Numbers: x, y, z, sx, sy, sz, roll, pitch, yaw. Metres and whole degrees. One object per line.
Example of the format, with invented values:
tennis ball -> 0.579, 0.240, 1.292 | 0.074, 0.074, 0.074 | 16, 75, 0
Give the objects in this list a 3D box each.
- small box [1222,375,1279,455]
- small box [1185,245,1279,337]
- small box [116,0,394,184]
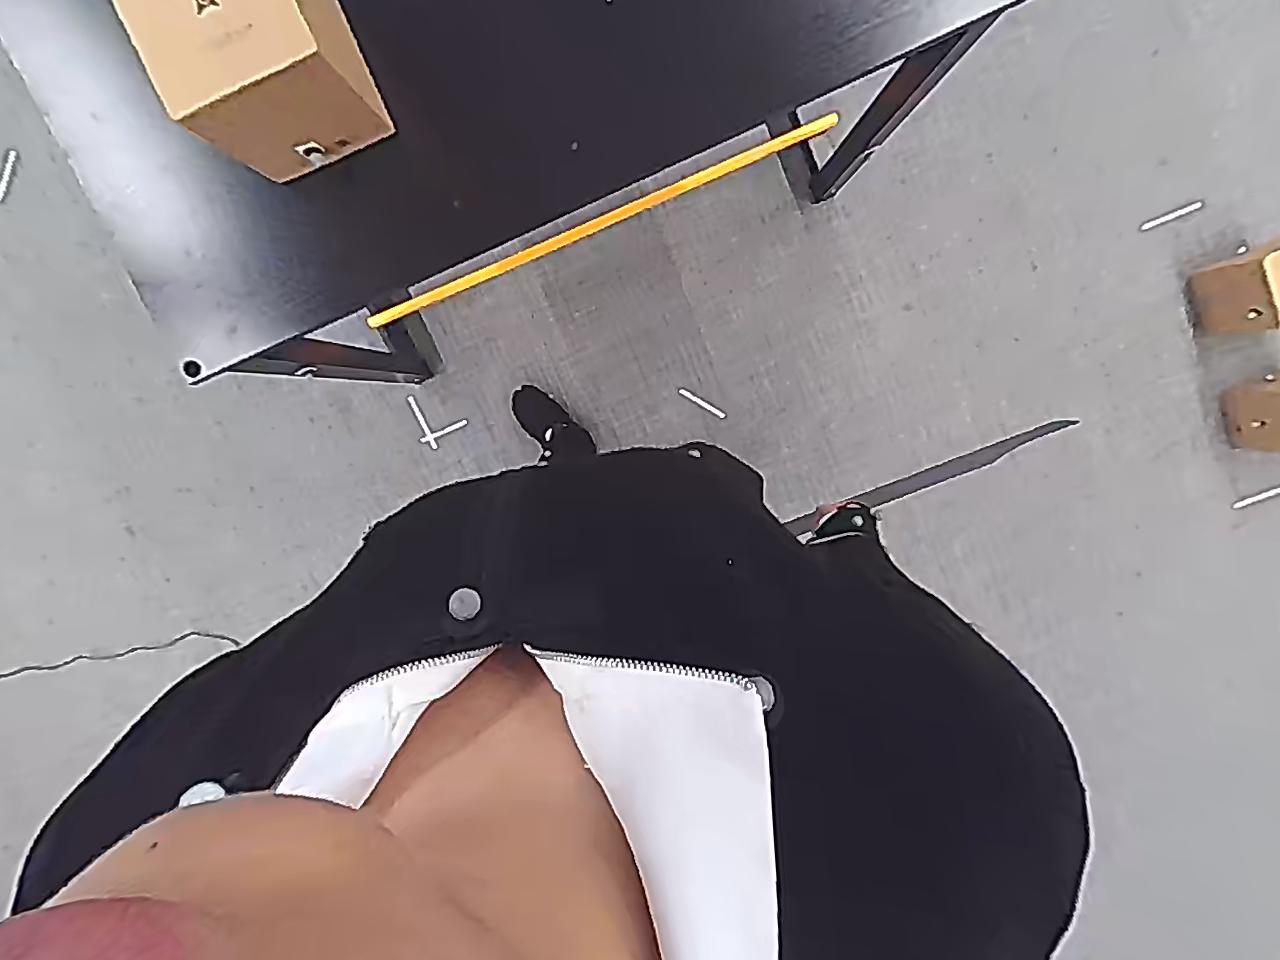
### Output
small box -> 1.643, -0.165, 1.369 | 0.179, 0.176, 0.168 | -21, 98, 4
small box -> 1.510, -0.462, 1.322 | 0.168, 0.176, 0.179 | -25, 97, 4
small box -> -0.411, -0.469, 0.594 | 0.168, 0.176, 0.179 | -22, 98, 4
